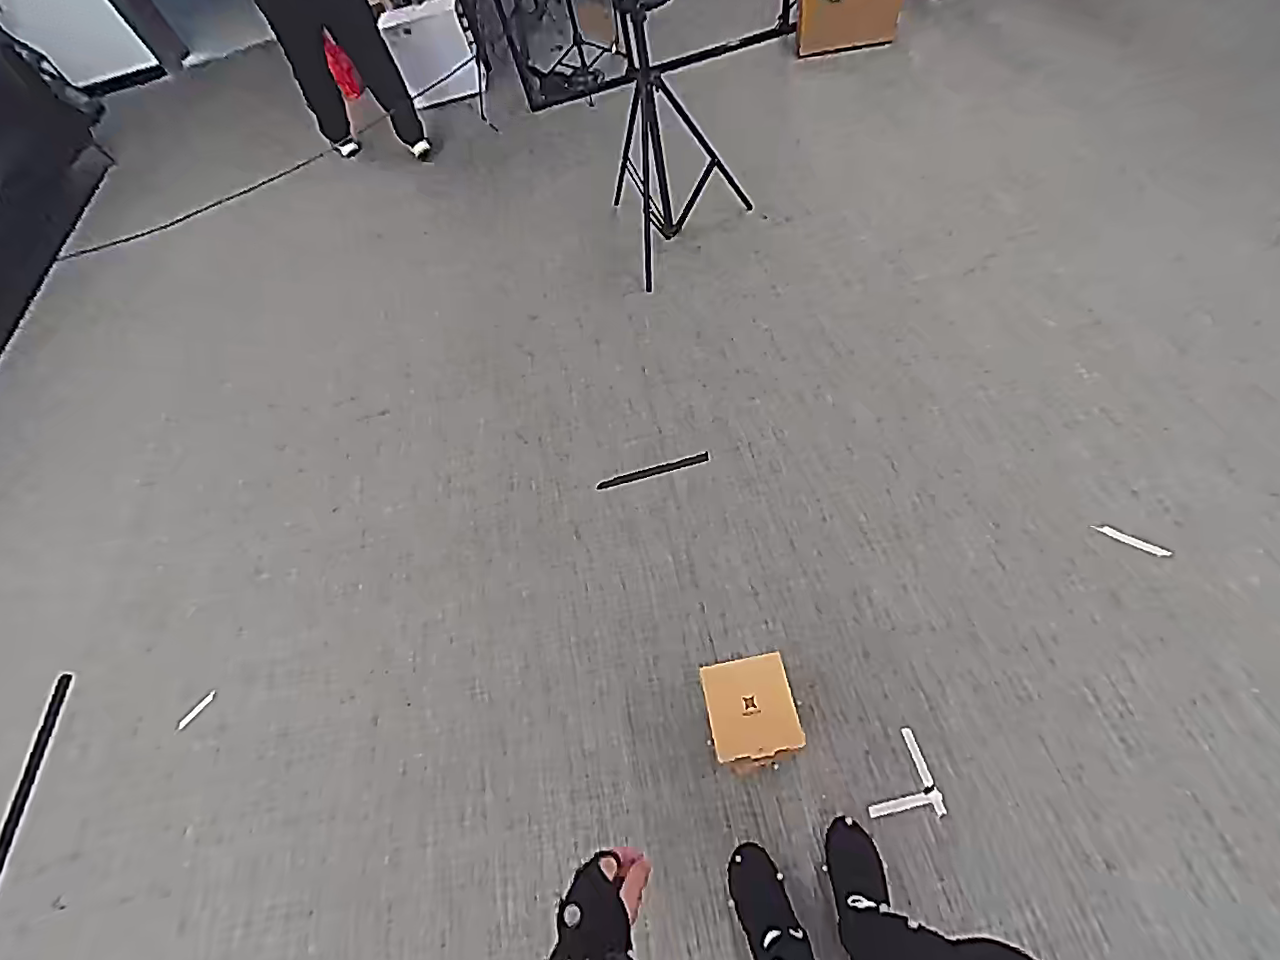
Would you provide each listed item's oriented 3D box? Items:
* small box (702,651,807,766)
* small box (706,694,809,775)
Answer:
[{"bbox_3d":[0.226,0.468,1.098,0.168,0.176,0.179,-13,59,4],"label":"small box"},{"bbox_3d":[0.263,0.552,1.234,0.168,0.176,0.179,-24,59,-2],"label":"small box"}]
